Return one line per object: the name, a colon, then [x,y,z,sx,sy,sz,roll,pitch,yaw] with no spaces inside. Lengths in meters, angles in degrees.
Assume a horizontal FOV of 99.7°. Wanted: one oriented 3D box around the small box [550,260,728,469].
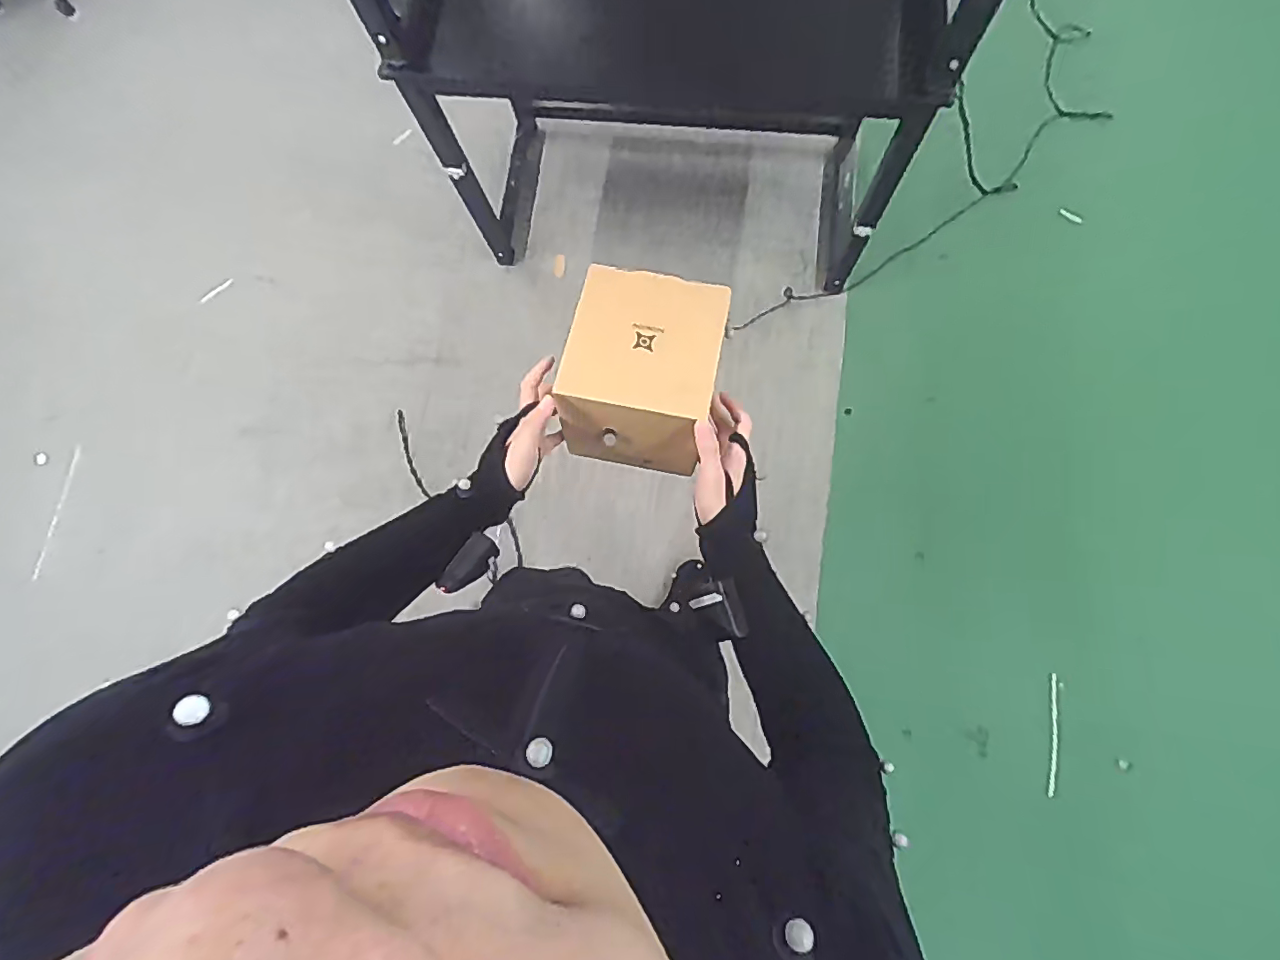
small box: [0.004,-0.129,0.655,0.168,0.176,0.179,11,69,4]
